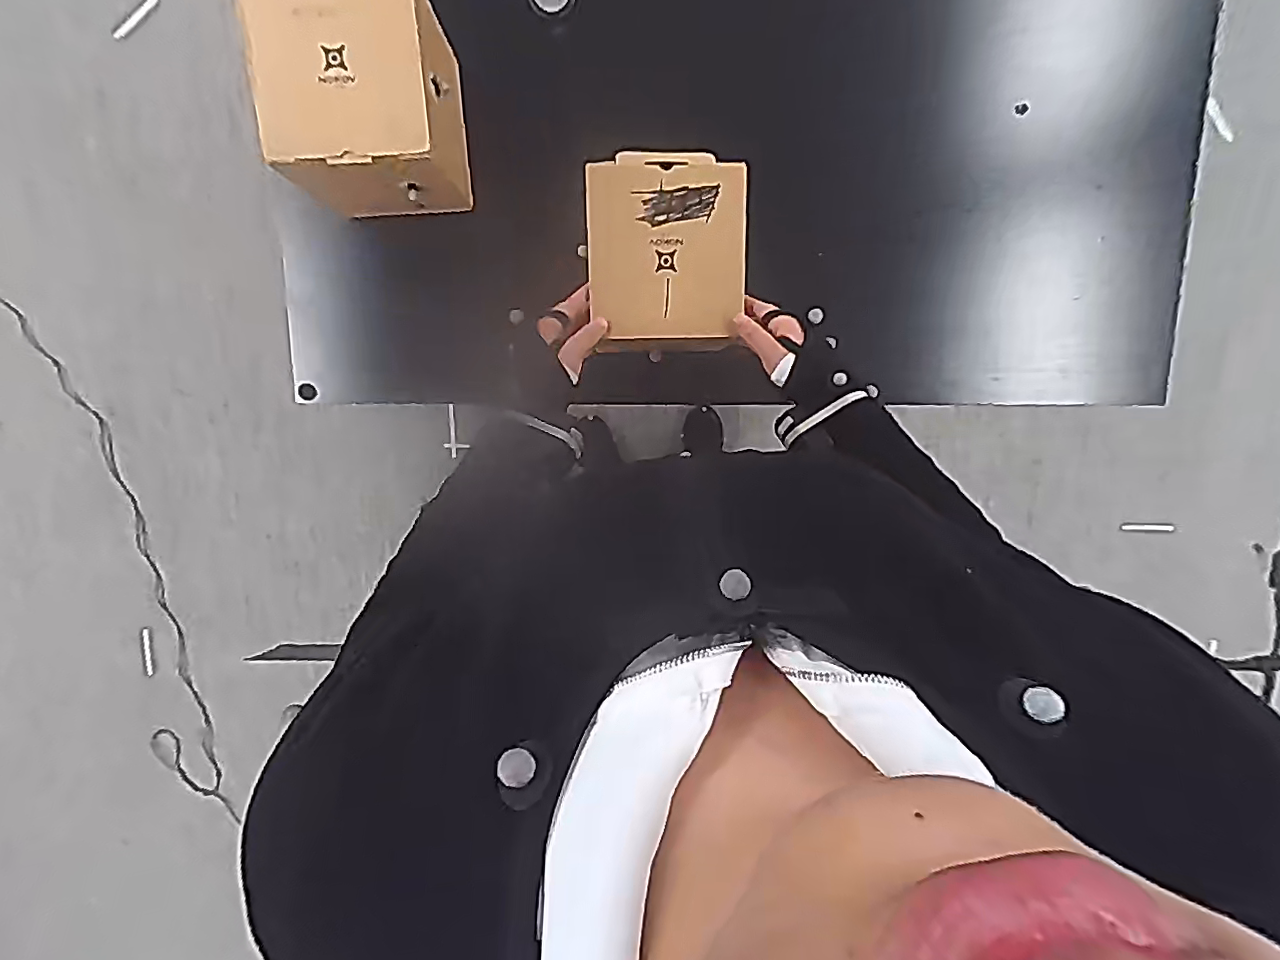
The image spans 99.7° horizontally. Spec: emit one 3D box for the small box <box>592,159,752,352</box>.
[{"bbox_3d":[0.028,-0.246,0.632,0.168,0.176,0.179,-1,99,-2],"label":"small box"}]

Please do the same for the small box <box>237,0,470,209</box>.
[{"bbox_3d":[-0.294,-0.412,0.593,0.168,0.176,0.179,-5,98,-3],"label":"small box"}]
